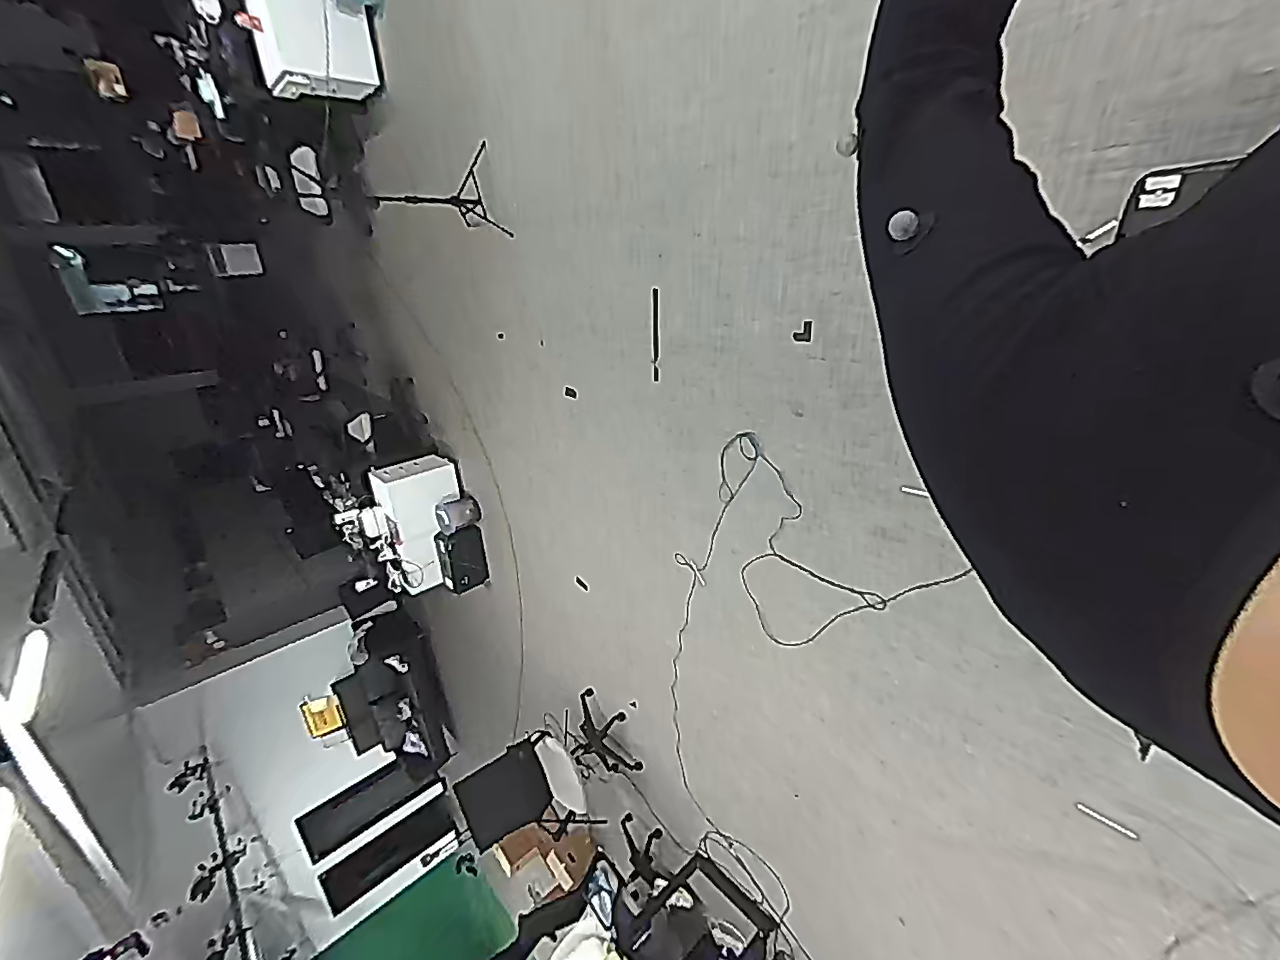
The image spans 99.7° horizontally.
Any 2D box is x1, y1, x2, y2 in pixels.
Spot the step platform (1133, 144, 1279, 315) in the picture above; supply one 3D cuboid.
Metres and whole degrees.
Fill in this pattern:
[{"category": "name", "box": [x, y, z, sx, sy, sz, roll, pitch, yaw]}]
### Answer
[{"category": "step platform", "box": [1.271, -0.425, 0.883, 0.684, 0.204, 0.286, 17, 120, 44]}]
